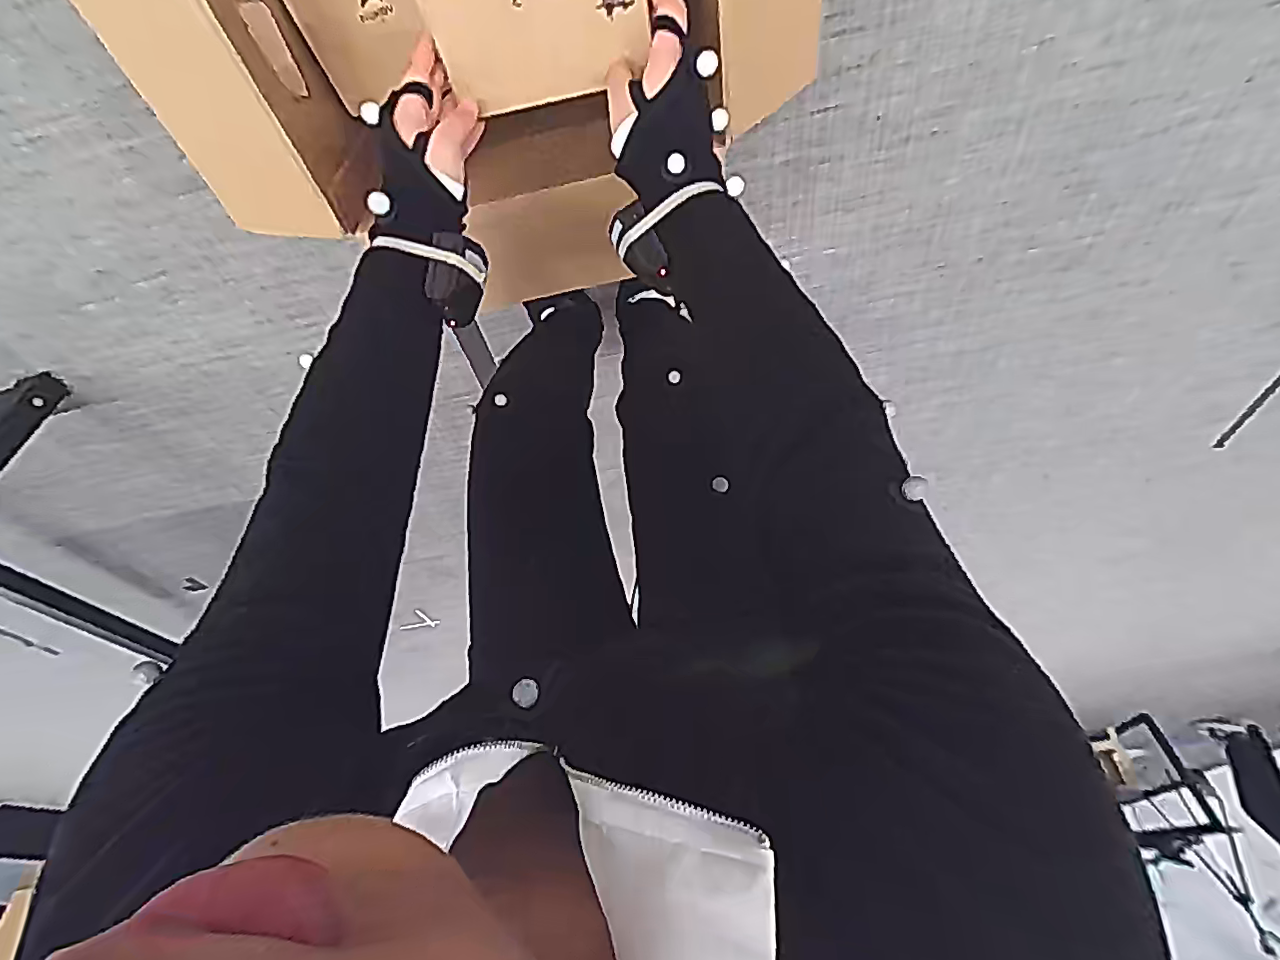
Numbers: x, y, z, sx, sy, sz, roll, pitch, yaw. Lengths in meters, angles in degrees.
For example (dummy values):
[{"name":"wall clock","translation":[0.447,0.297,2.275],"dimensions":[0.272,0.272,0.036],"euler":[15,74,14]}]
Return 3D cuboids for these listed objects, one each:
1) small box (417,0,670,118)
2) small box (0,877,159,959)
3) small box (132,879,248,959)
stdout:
[{"name":"small box","translation":[-0.079,-0.435,0.445],"dimensions":[0.179,0.176,0.168],"euler":[-2,144,14]},{"name":"small box","translation":[-1.153,0.918,1.095],"dimensions":[0.168,0.176,0.179],"euler":[-10,140,6]},{"name":"small box","translation":[-1.102,1.080,1.301],"dimensions":[0.179,0.176,0.168],"euler":[-12,141,6]}]
